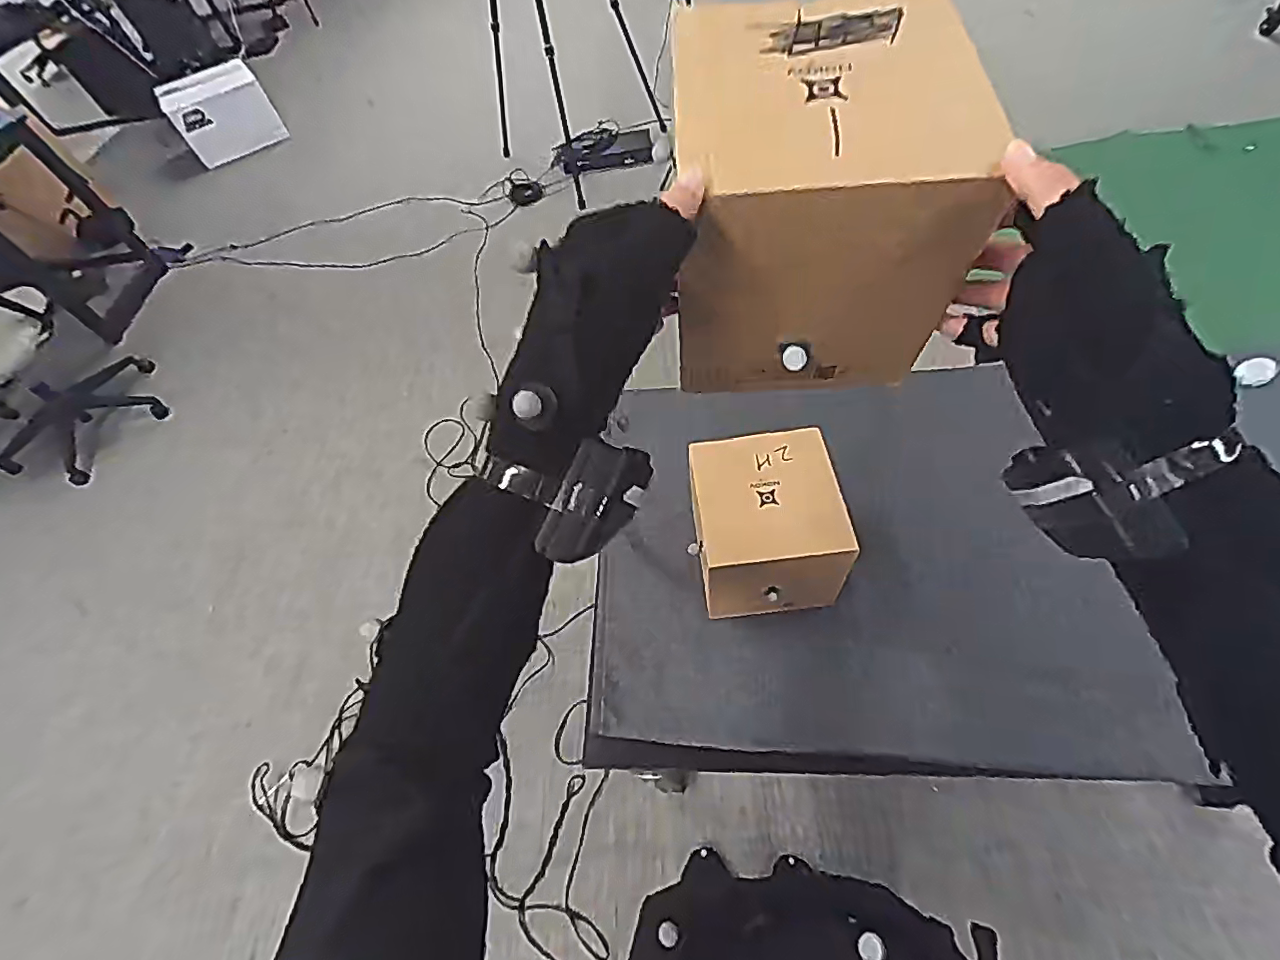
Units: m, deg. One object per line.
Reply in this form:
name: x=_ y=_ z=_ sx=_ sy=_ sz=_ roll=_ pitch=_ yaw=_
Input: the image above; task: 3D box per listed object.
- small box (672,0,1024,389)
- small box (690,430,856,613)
small box: x=0.105 y=-0.182 z=0.366 sx=0.168 sy=0.176 sz=0.179 roll=-2 pitch=64 yaw=4
small box: x=0.159 y=0.062 z=0.699 sx=0.168 sy=0.176 sz=0.179 roll=-7 pitch=55 yaw=3
